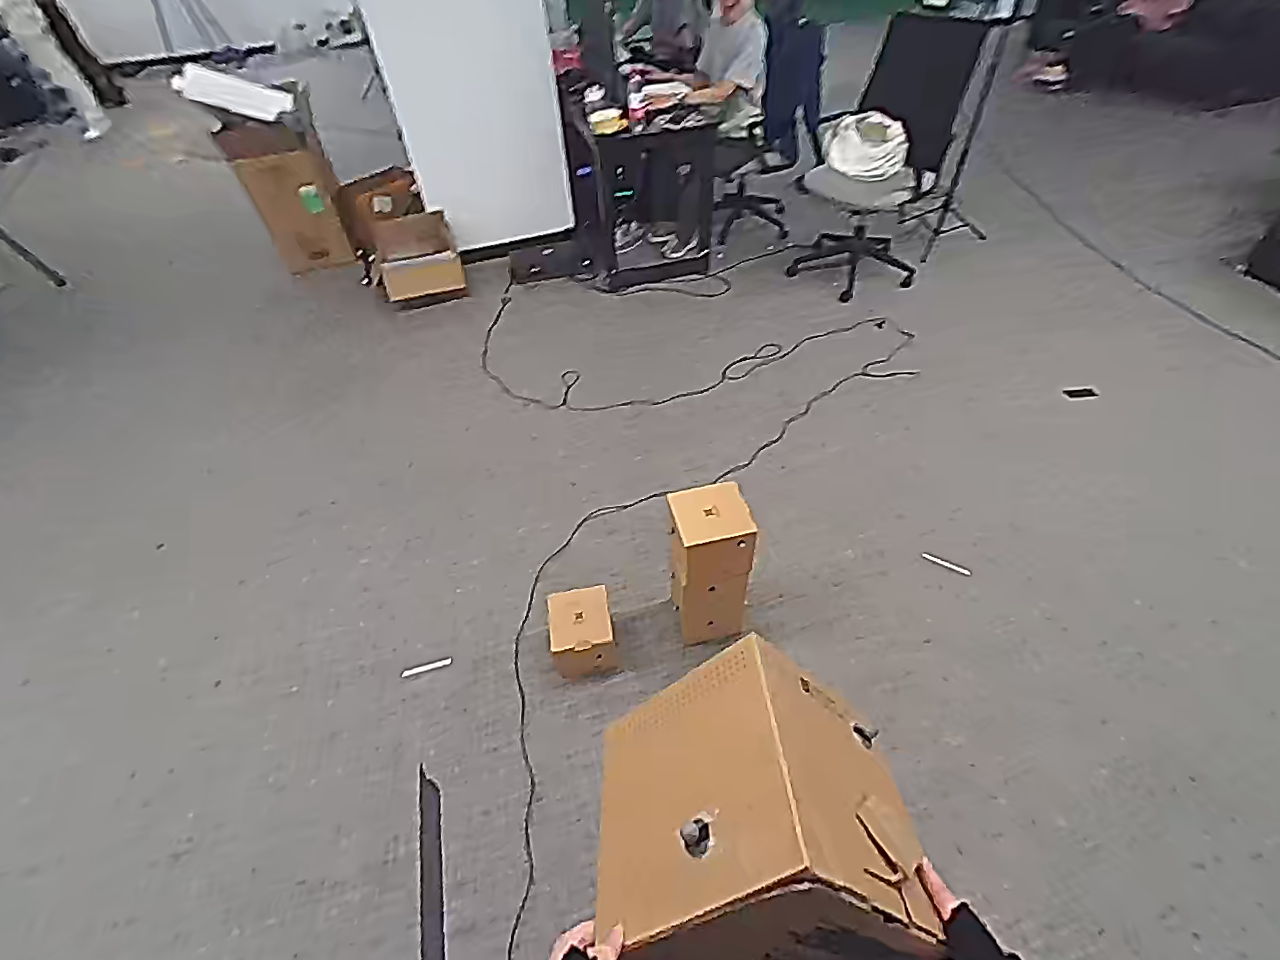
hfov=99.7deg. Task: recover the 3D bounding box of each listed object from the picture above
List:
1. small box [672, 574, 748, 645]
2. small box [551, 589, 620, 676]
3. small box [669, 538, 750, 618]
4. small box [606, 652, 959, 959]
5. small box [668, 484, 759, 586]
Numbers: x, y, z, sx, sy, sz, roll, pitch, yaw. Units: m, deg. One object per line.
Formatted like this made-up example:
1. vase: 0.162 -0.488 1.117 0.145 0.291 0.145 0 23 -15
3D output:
1. small box: 0.199 0.357 1.566 0.179 0.176 0.168 -12 49 -6
2. small box: -0.152 0.435 1.524 0.168 0.176 0.179 -9 47 -4
3. small box: 0.181 0.250 1.441 0.179 0.176 0.168 -10 48 -5
4. small box: 0.089 0.267 0.417 0.179 0.168 0.176 -43 23 23
5. small box: 0.174 0.139 1.322 0.179 0.176 0.168 -11 47 -7
